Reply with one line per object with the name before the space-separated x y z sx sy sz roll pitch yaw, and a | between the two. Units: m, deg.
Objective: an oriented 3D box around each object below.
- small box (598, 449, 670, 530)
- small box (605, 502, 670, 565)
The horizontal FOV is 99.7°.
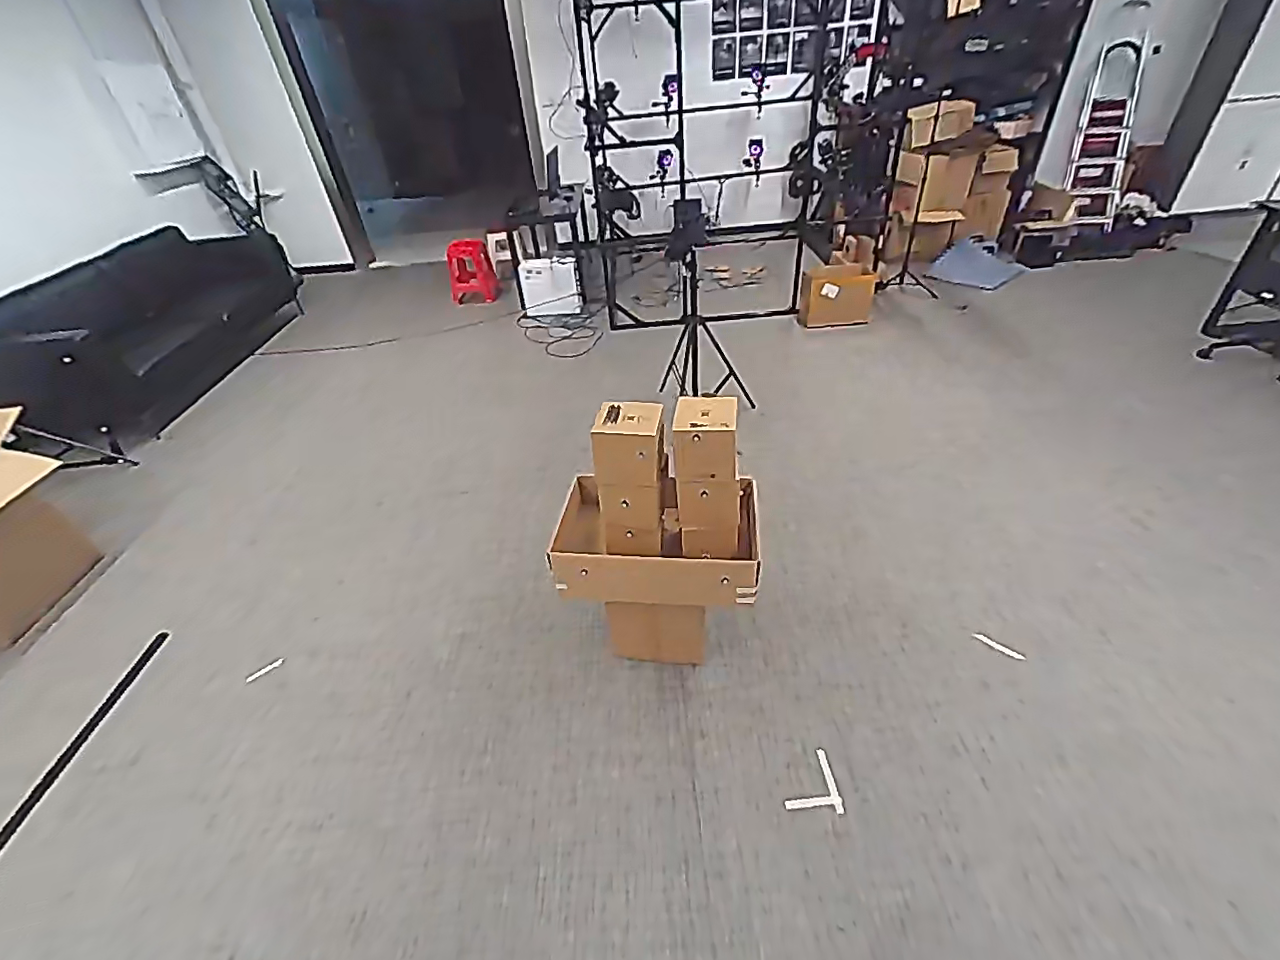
small box | -0.010 0.031 1.599 0.179 0.176 0.168 6 38 13
small box | -0.002 0.152 1.708 0.179 0.176 0.168 3 38 10
